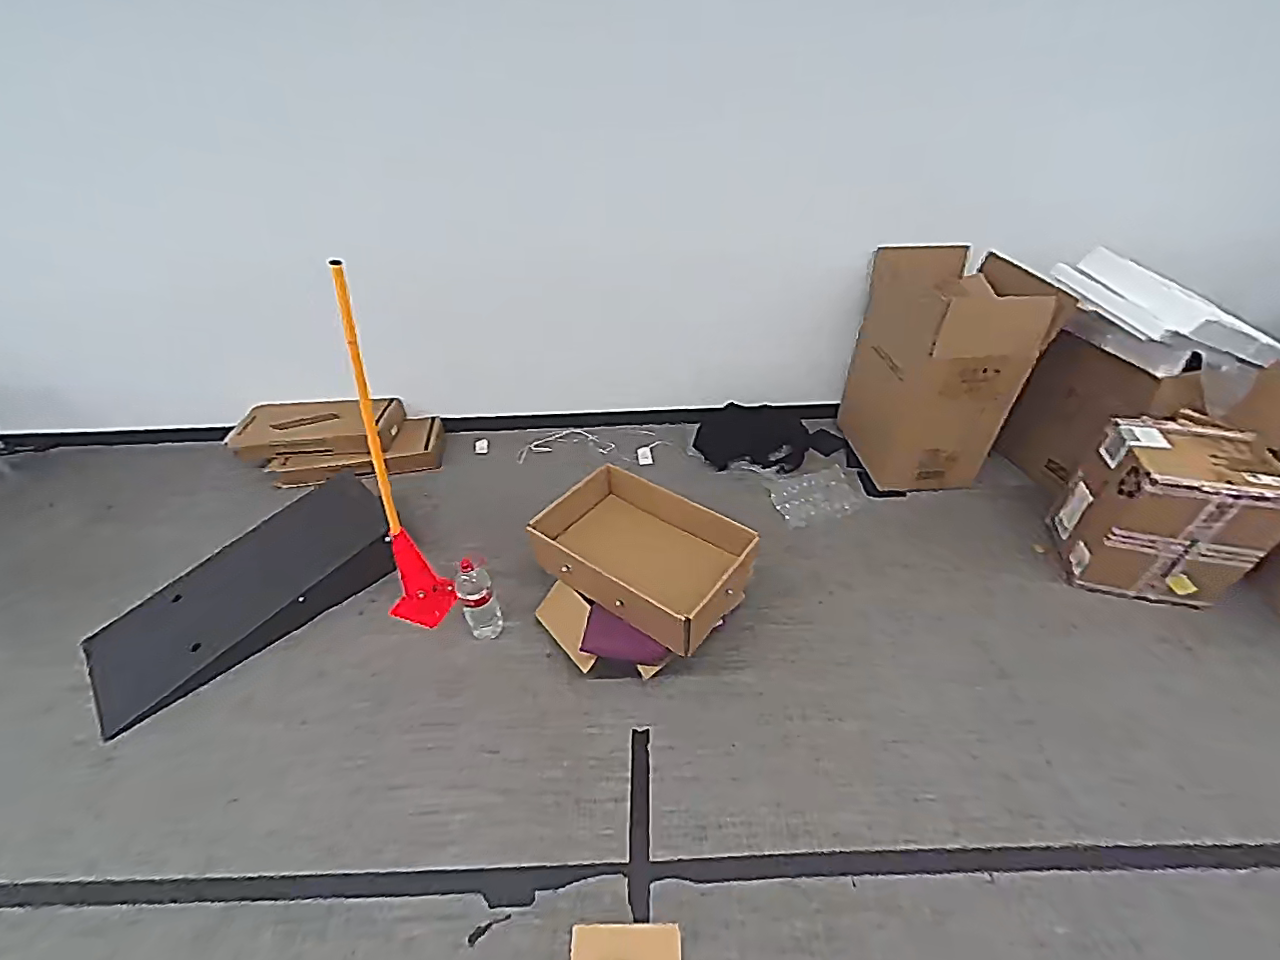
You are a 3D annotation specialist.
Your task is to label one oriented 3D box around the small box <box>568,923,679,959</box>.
[{"bbox_3d":[-0.022,0.790,0.805,0.168,0.176,0.179,-1,39,0],"label":"small box"}]
